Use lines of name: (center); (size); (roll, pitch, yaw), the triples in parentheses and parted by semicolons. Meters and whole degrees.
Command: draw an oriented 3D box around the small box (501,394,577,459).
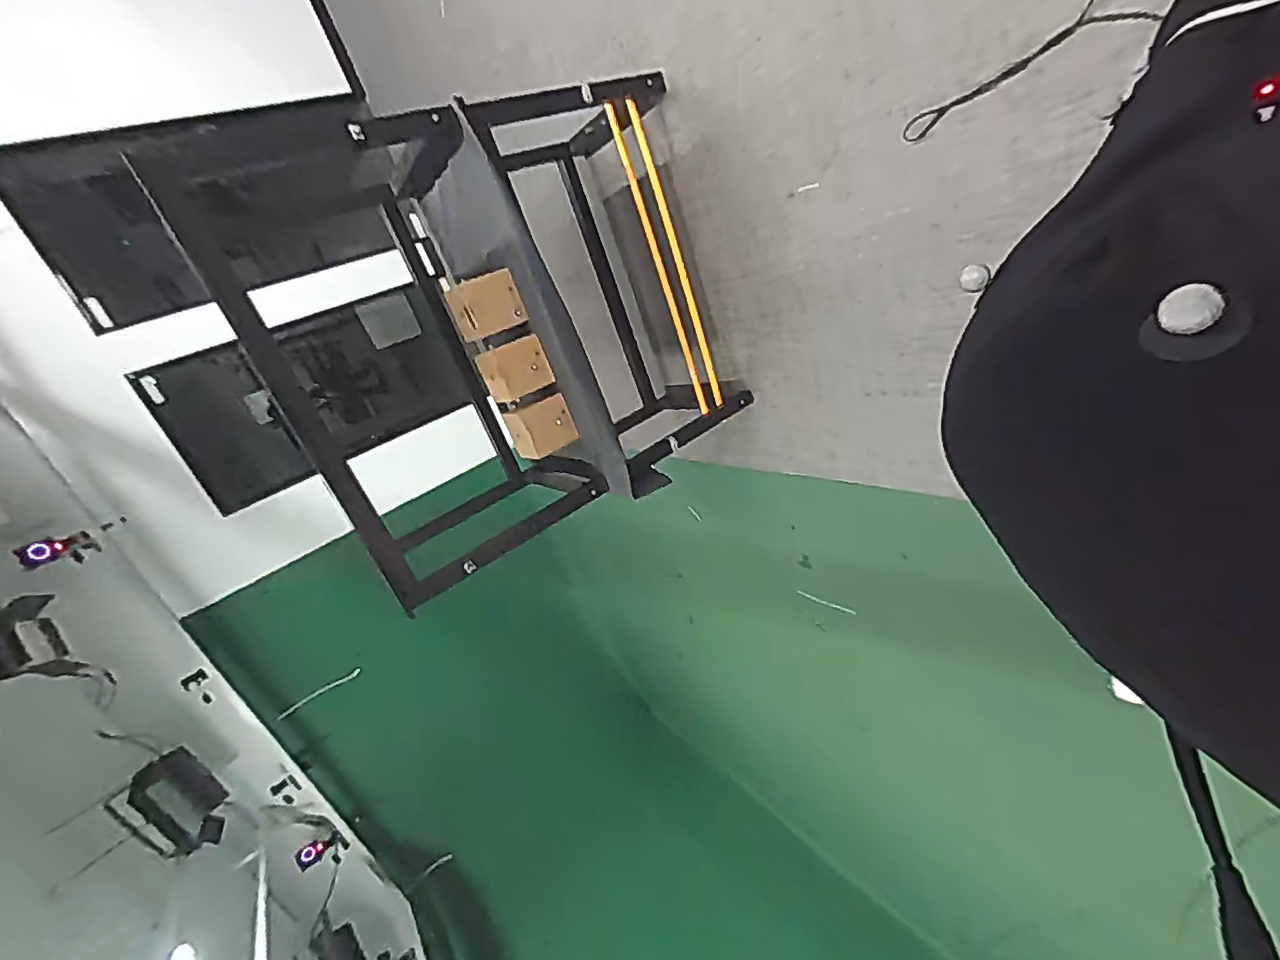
small box: (-0.340, -0.183, 1.839); (0.179, 0.176, 0.168); (8, 124, 56)
